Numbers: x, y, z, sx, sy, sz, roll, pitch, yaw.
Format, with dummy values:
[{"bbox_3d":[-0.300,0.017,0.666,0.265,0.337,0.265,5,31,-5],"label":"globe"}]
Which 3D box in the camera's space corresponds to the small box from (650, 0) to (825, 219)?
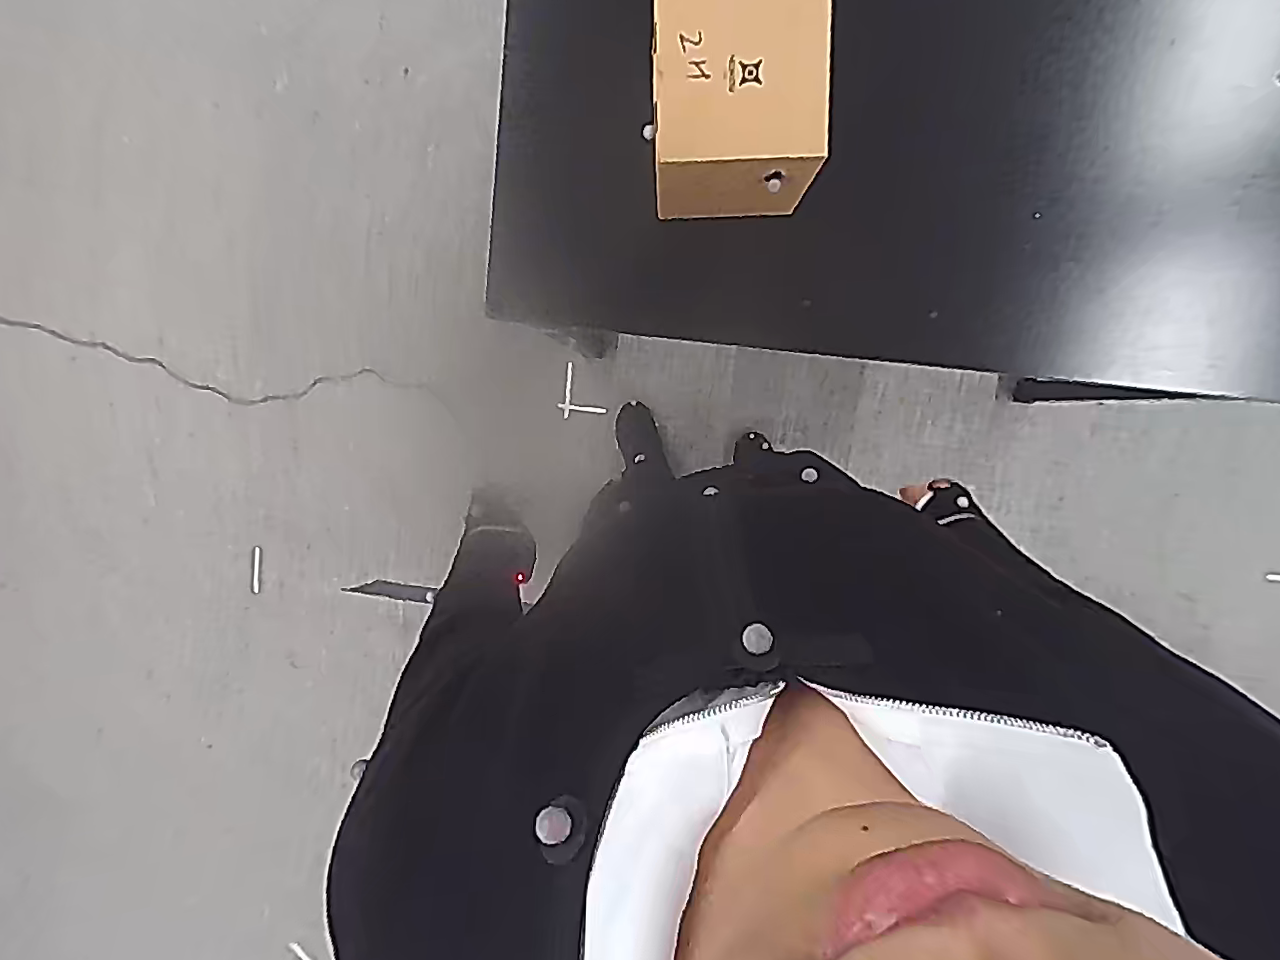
[{"bbox_3d":[0.100,-0.416,0.625,0.179,0.176,0.168,-1,97,3],"label":"small box"}]
